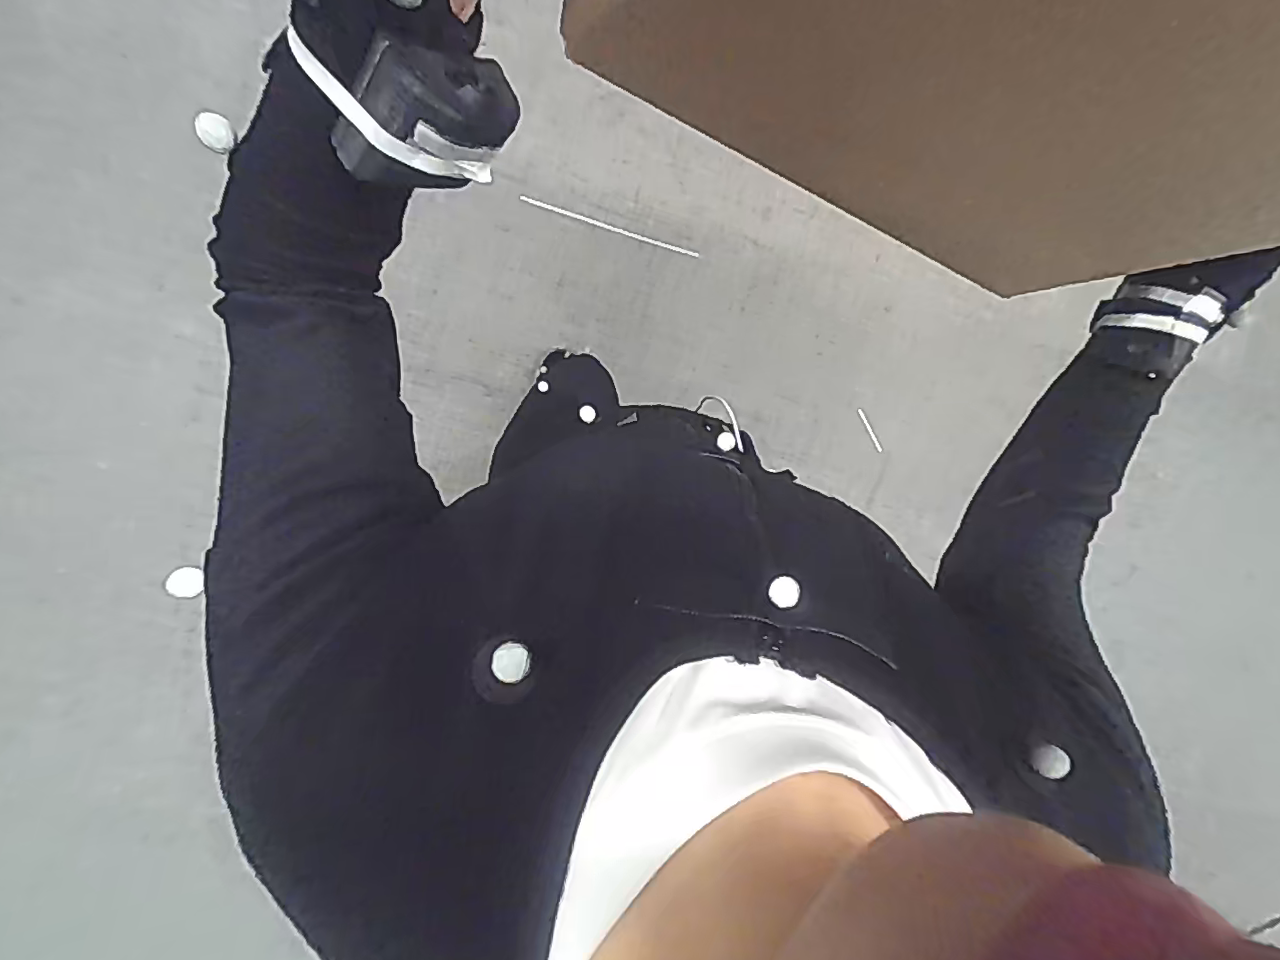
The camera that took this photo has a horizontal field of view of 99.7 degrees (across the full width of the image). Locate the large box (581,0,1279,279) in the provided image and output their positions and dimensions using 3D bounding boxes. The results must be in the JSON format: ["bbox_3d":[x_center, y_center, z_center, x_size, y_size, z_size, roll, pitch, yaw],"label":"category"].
[{"bbox_3d":[0.227,-0.317,0.215,0.408,0.320,0.320,6,92,-33],"label":"large box"}]
